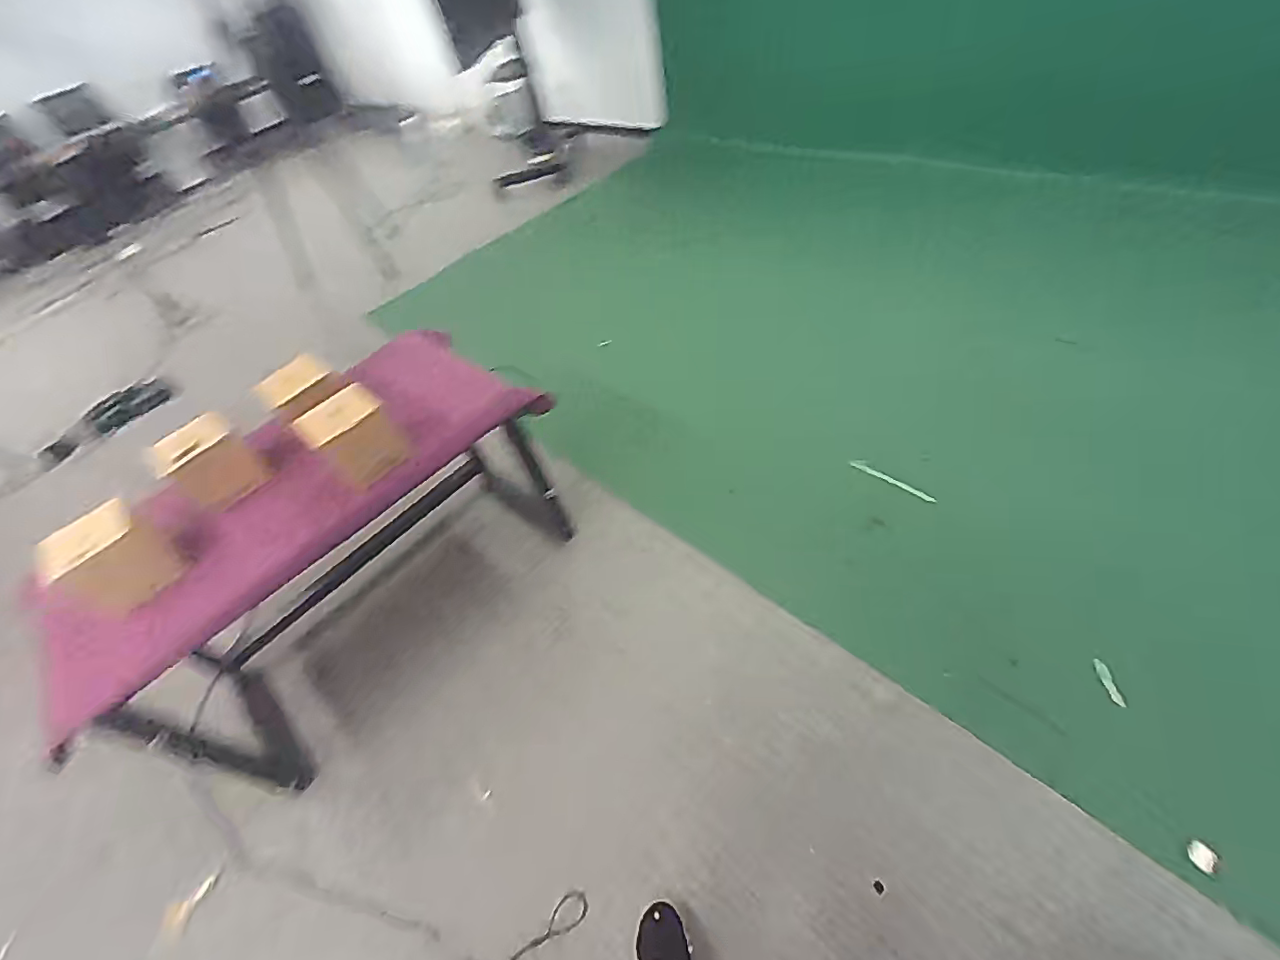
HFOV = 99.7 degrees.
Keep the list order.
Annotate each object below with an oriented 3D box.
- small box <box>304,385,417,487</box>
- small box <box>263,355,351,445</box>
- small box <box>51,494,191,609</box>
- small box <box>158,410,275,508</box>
[{"bbox_3d":[-0.715,-0.110,1.391,0.168,0.176,0.179,-41,51,-21],"label":"small box"},{"bbox_3d":[-0.927,-0.227,1.554,0.179,0.176,0.168,31,63,33],"label":"small box"},{"bbox_3d":[-1.213,0.170,1.271,0.168,0.176,0.179,-41,52,-22],"label":"small box"},{"bbox_3d":[-1.124,-0.051,1.446,0.179,0.176,0.168,30,62,35],"label":"small box"}]
